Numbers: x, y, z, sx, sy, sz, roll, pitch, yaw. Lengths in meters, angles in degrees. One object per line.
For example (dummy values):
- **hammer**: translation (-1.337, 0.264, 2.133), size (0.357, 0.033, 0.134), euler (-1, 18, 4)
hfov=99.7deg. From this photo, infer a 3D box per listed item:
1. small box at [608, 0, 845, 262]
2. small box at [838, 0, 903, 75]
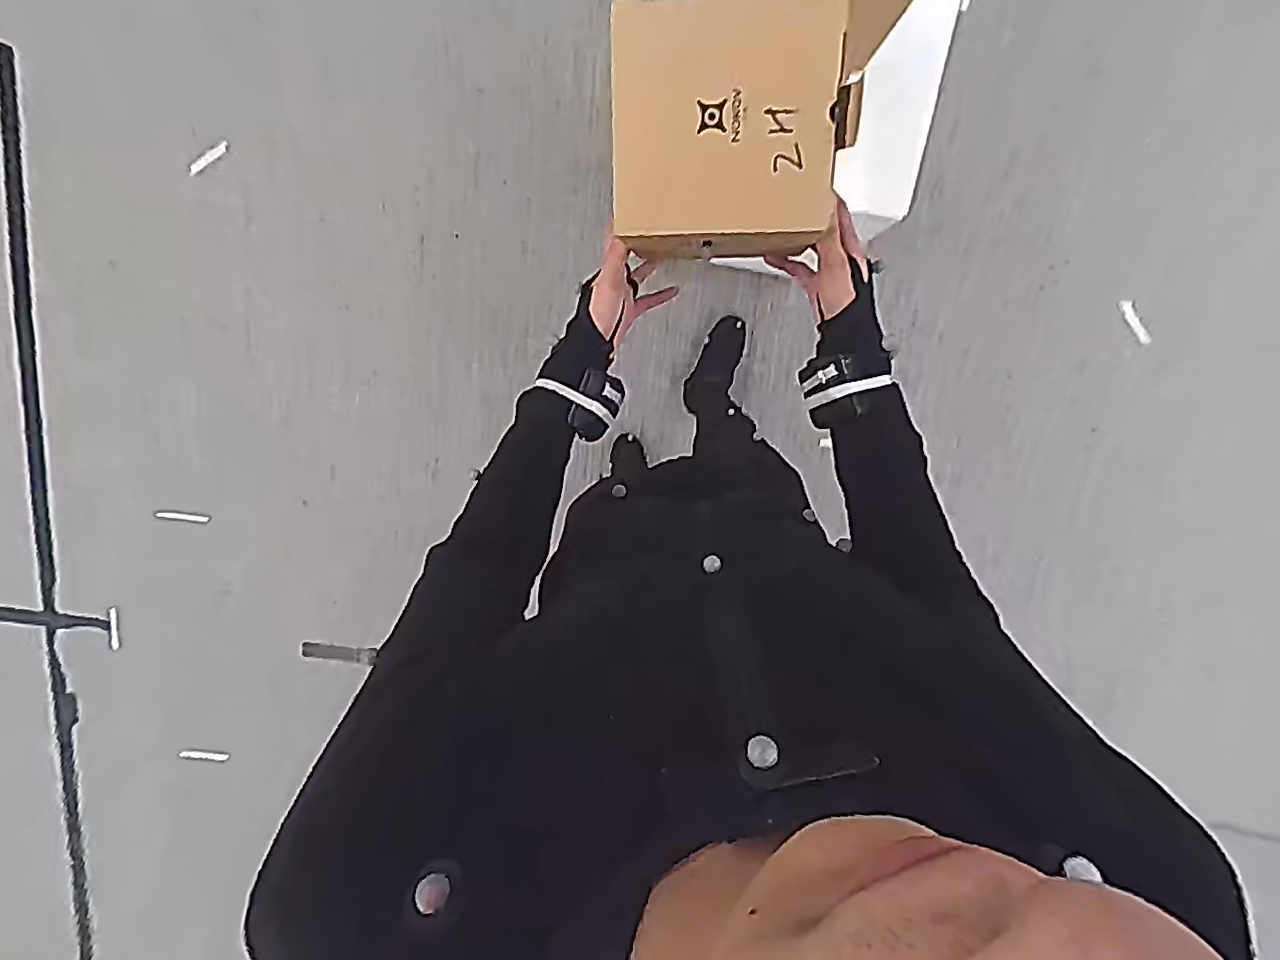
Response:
- **small box**: translation (0.072, -0.297, 0.497), size (0.179, 0.176, 0.168), euler (2, 106, 7)
- **small box**: translation (0.227, -0.636, 0.659), size (0.168, 0.176, 0.179), euler (5, 99, -1)
